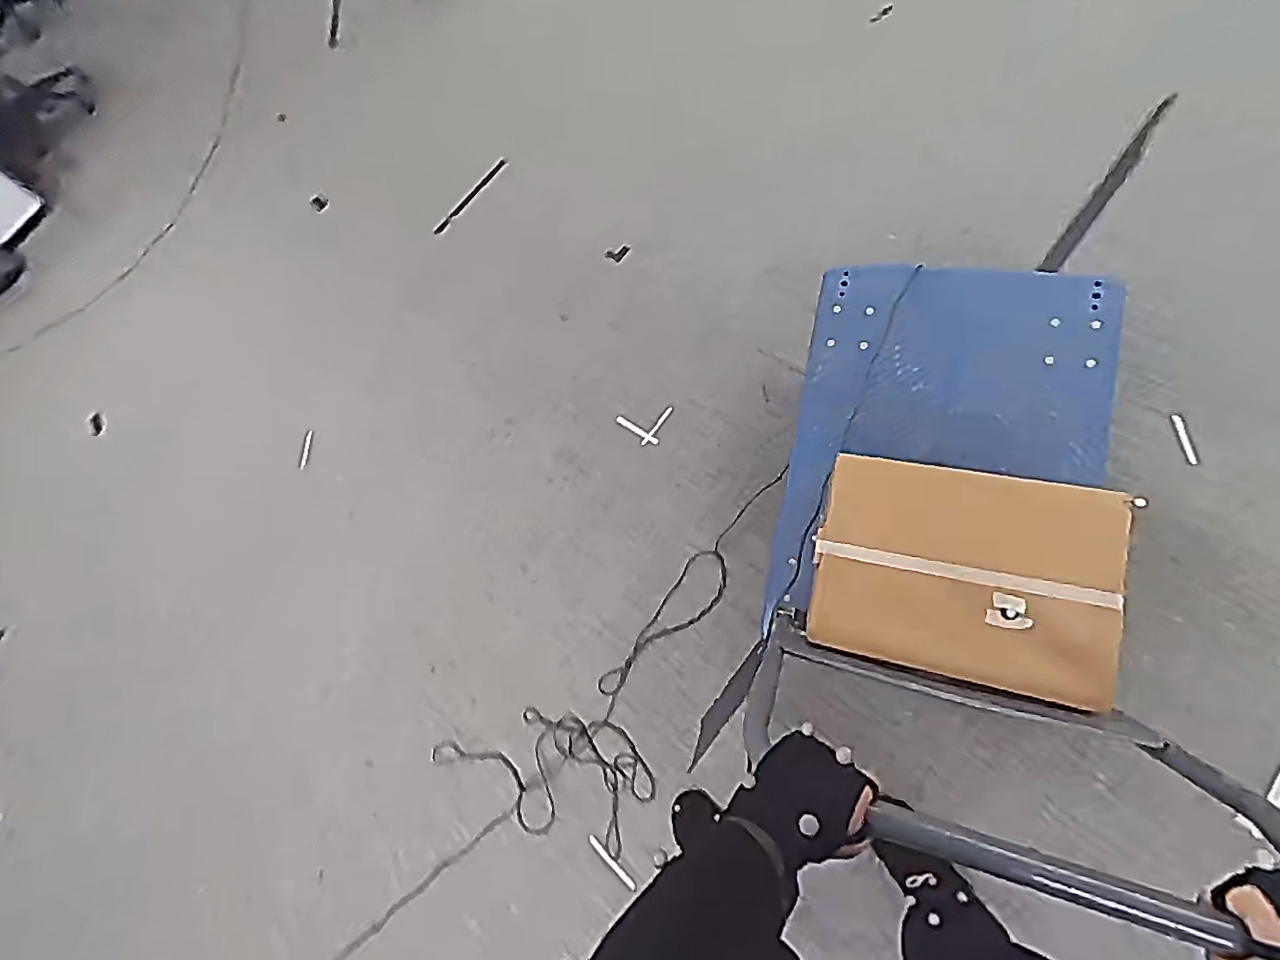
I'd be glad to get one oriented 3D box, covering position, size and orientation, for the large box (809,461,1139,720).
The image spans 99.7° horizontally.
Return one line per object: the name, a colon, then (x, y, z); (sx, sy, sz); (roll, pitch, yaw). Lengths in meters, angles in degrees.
large box: (0.523, 0.170, 0.939); (0.408, 0.320, 0.320); (10, 85, 17)
